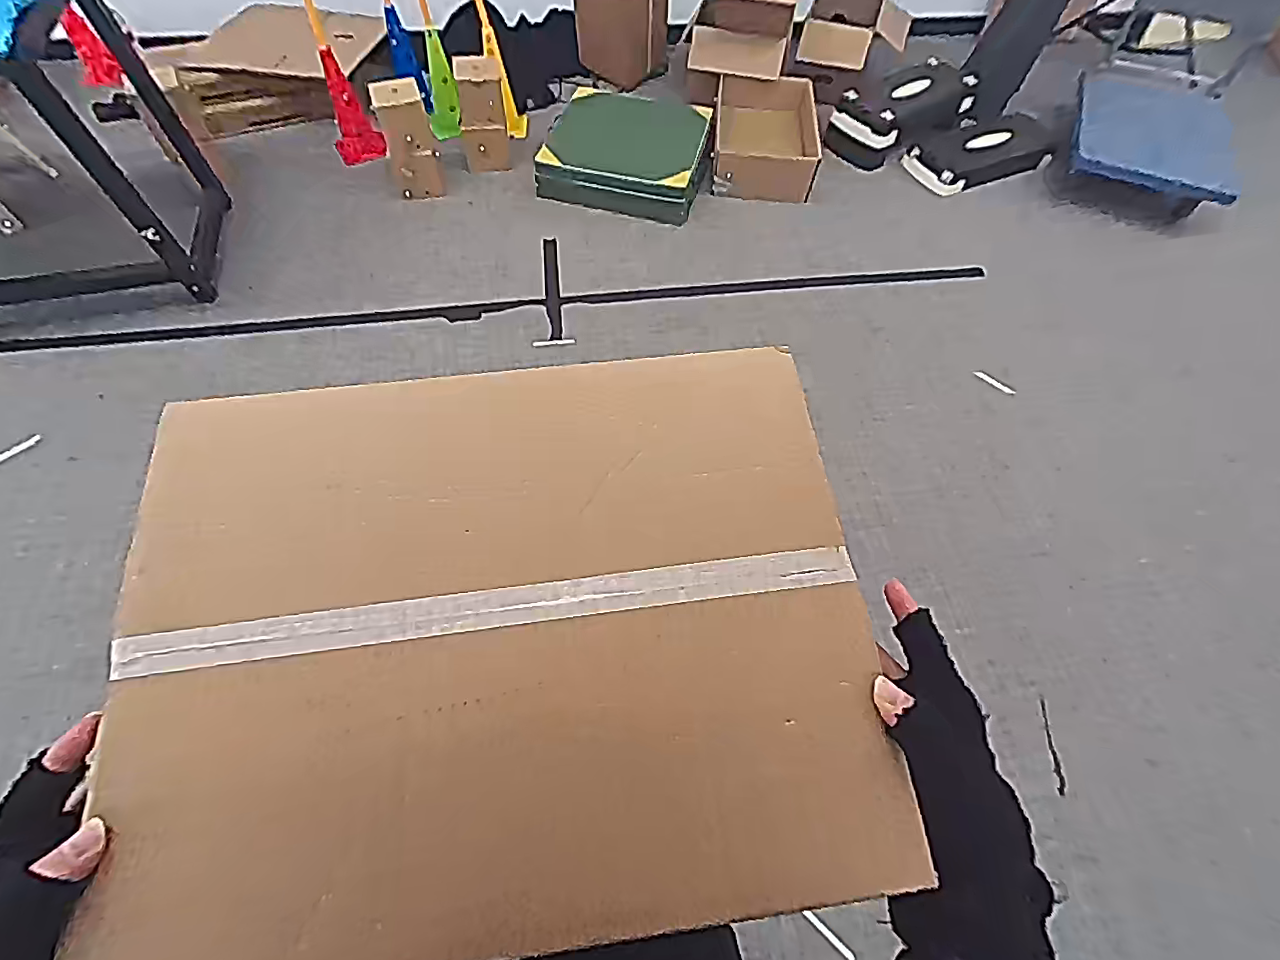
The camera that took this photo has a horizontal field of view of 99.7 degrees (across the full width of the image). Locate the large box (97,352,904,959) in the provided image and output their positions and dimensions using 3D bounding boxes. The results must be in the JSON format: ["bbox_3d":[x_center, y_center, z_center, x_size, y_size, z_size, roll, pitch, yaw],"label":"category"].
[{"bbox_3d":[-0.083,0.127,0.457,0.408,0.320,0.320,-6,69,-4],"label":"large box"}]
